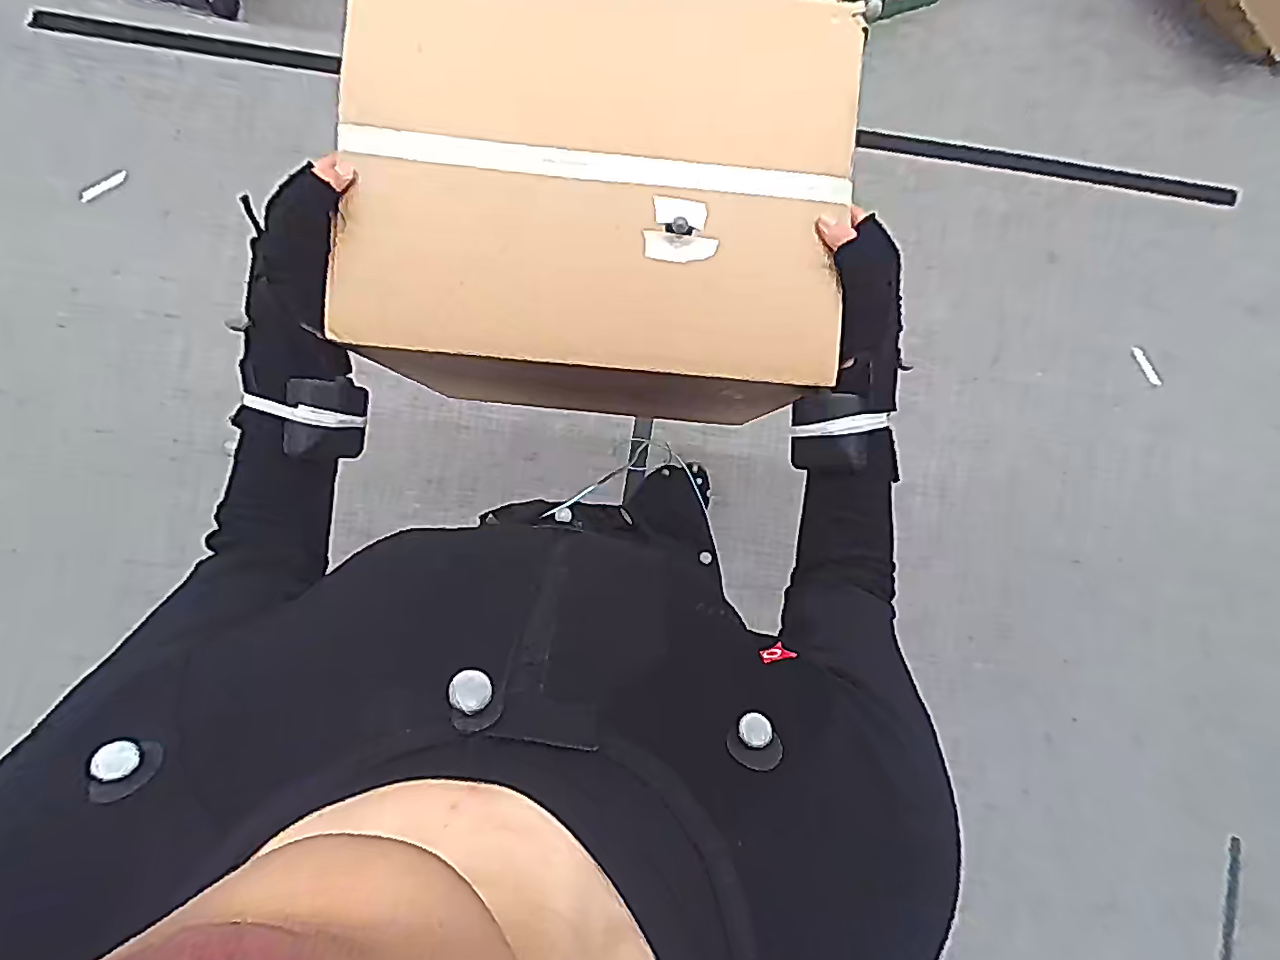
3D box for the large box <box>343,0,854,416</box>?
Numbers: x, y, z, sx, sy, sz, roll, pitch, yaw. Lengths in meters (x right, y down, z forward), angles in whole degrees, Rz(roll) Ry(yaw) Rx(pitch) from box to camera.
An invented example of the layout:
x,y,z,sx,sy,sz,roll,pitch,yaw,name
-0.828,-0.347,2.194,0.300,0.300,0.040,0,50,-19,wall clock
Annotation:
x,y,z,sx,sy,sz,roll,pitch,yaw,name
-0.040,-0.251,0.586,0.408,0.320,0.320,5,91,-4,large box
